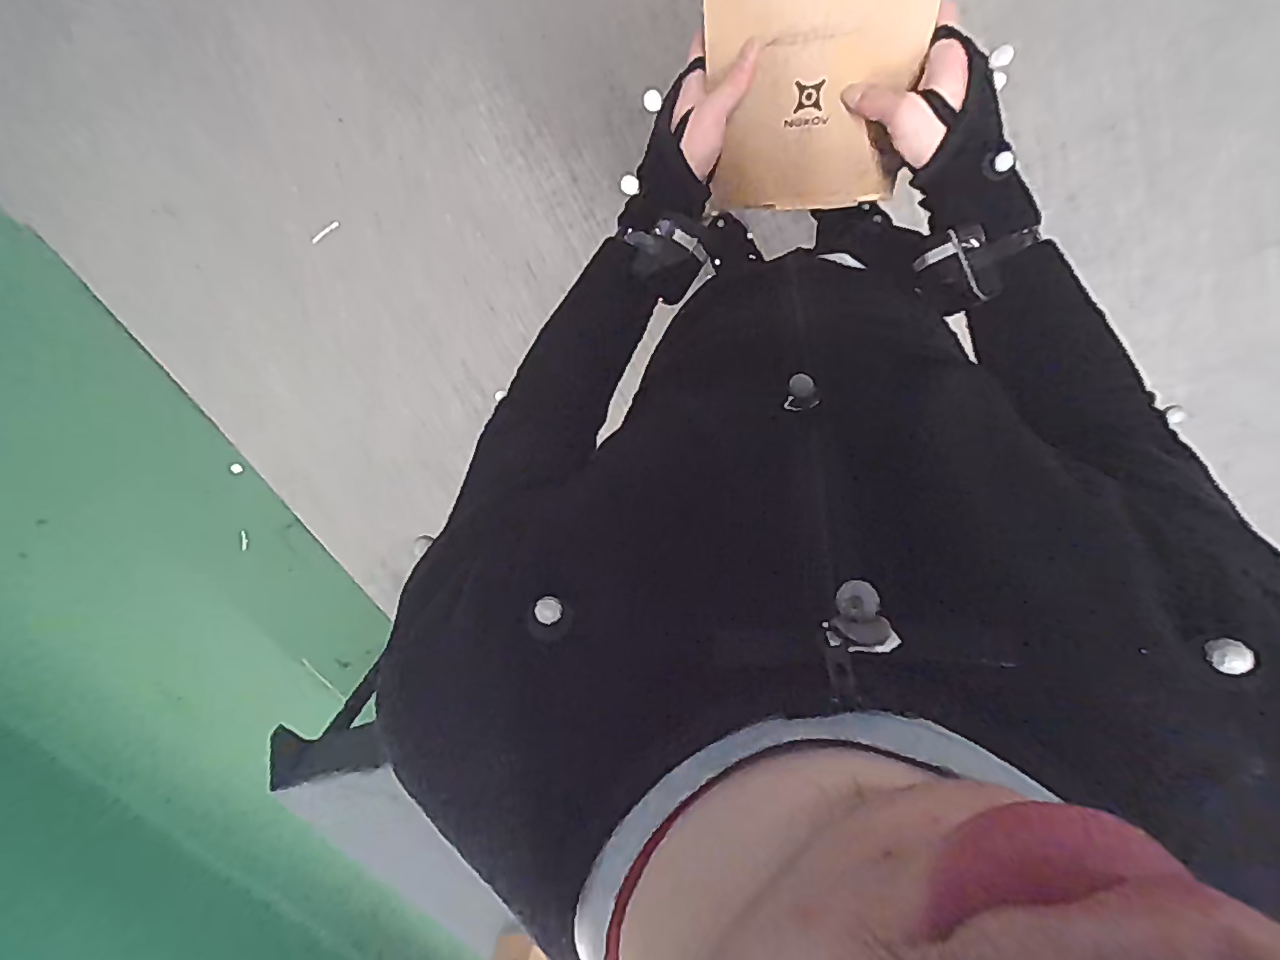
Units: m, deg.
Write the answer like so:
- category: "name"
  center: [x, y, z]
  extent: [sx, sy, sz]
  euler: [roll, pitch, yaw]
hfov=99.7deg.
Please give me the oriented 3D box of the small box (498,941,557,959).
- category: "small box"
  center: [-0.397, 1.730, 1.867]
  extent: [0.179, 0.176, 0.168]
  euler: [-21, 112, 21]
